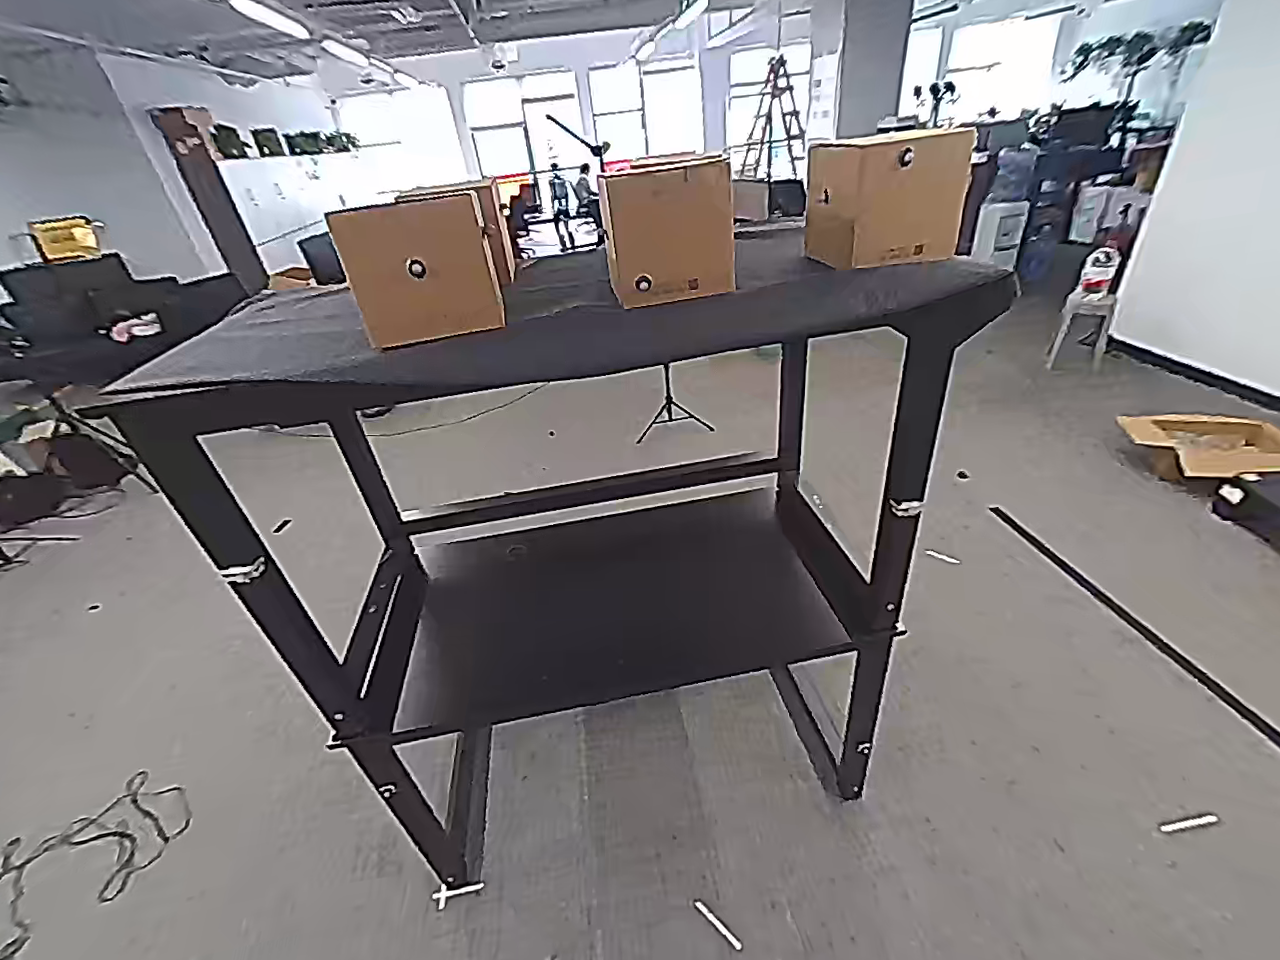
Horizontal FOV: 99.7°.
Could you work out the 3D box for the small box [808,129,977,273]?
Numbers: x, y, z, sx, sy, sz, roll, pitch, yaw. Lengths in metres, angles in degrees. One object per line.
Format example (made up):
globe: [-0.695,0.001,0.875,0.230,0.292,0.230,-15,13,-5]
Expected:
small box: [0.368,-0.424,0.827,0.168,0.176,0.179,-11,32,-4]

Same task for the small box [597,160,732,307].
small box: [0.035,-0.361,0.796,0.168,0.176,0.179,-10,30,-3]

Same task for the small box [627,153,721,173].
small box: [0.067,-0.531,1.058,0.168,0.176,0.179,-6,32,0]

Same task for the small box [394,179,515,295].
small box: [-0.337,-0.456,1.019,0.168,0.176,0.179,-10,33,-5]
